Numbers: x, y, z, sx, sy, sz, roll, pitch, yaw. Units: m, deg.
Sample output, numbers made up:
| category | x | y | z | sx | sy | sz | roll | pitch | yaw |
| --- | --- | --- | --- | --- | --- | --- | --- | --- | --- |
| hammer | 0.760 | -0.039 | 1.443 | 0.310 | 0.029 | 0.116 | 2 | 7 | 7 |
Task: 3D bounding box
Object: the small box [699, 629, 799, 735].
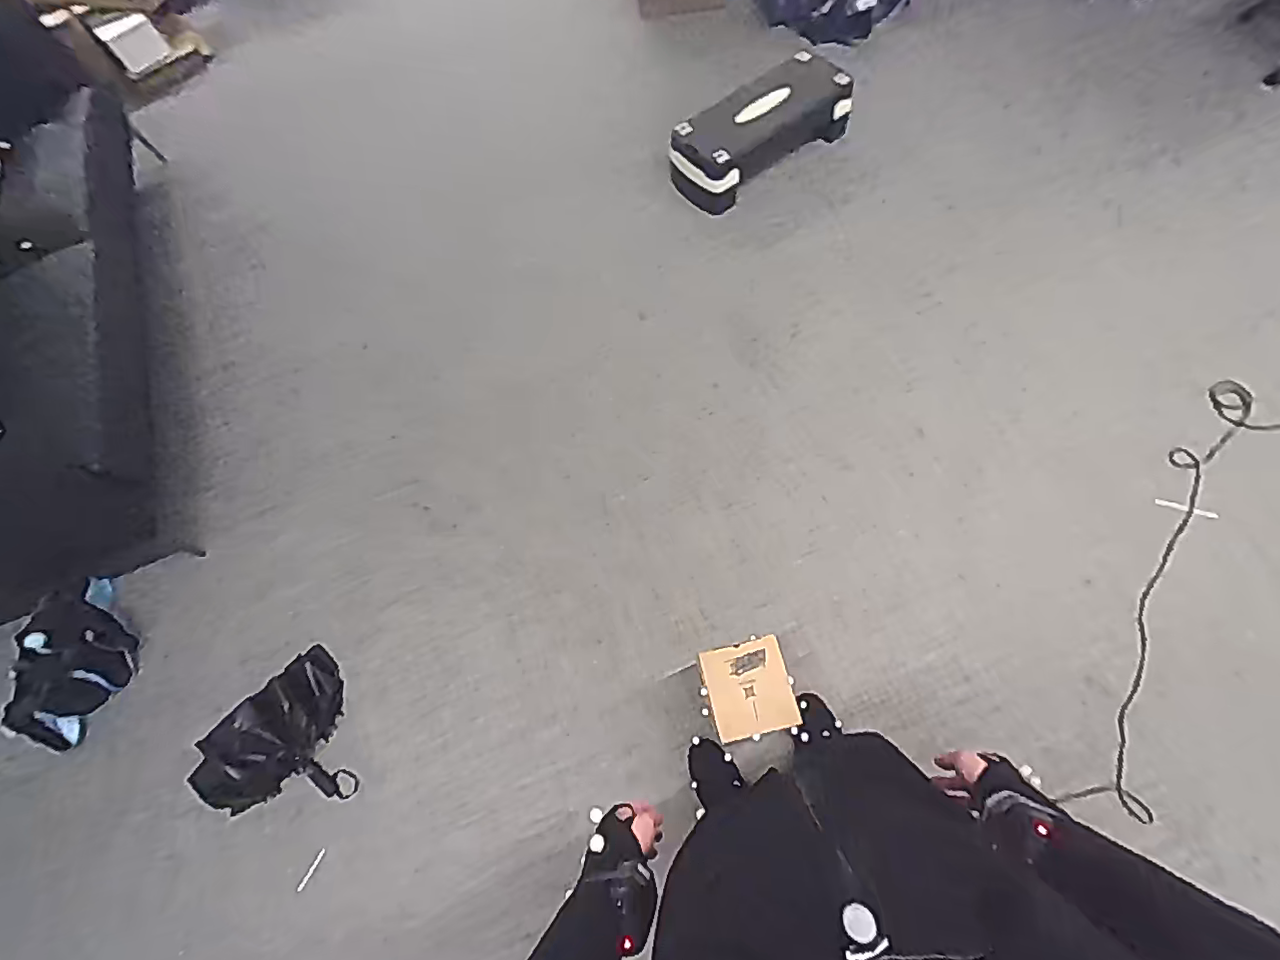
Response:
| category | x | y | z | sx | sy | sz | roll | pitch | yaw |
| --- | --- | --- | --- | --- | --- | --- | --- | --- | --- |
| small box | 0.223 | 0.433 | 1.159 | 0.168 | 0.176 | 0.179 | -14 | 69 | 2 |
